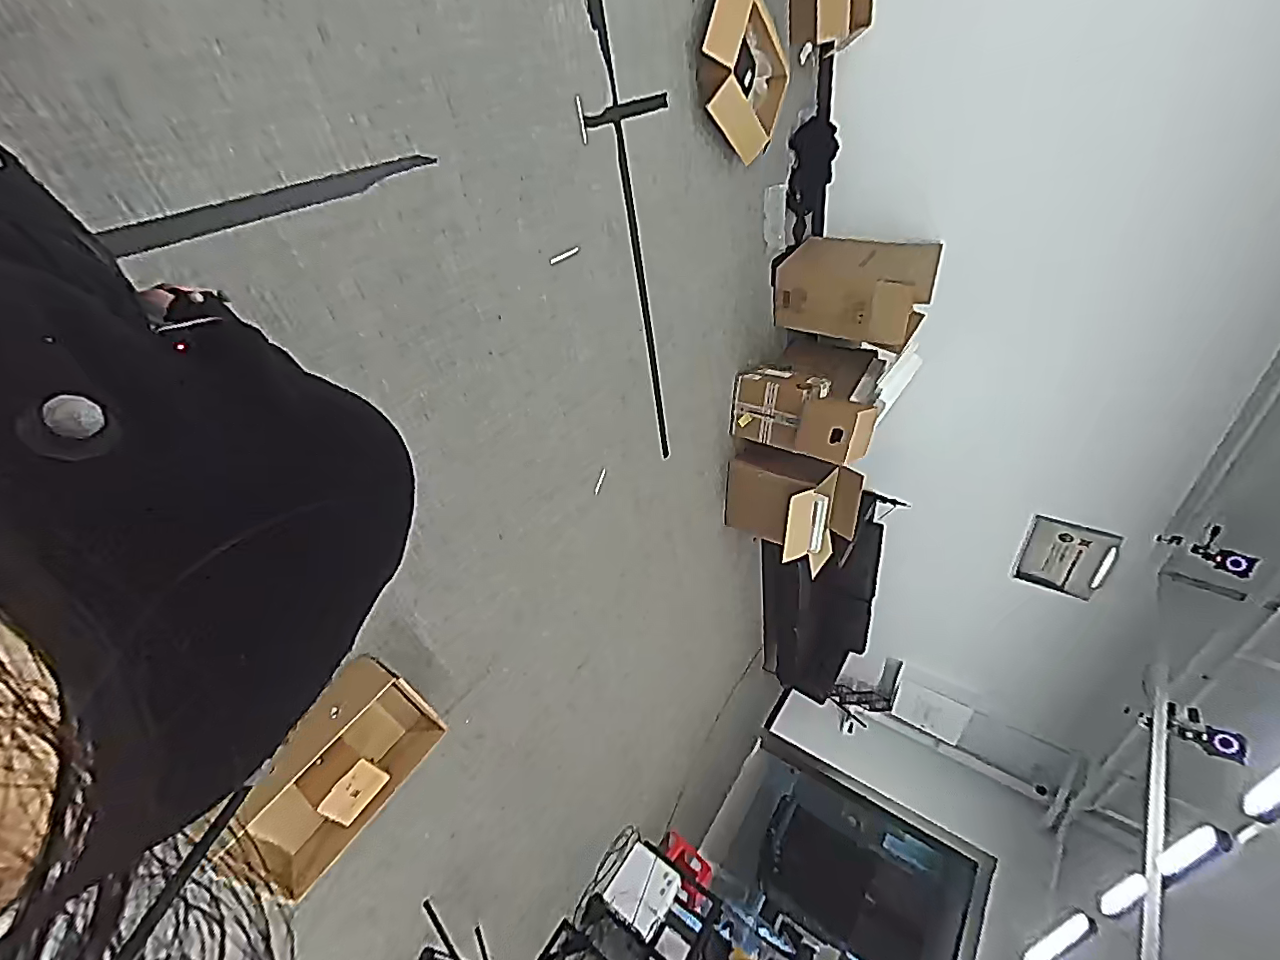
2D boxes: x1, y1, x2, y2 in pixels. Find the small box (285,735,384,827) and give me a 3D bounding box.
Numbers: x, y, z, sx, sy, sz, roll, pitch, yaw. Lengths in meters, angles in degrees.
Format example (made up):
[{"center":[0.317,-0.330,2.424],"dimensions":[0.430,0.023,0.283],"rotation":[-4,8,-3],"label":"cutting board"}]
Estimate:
[{"center":[-0.945,0.929,1.676],"dimensions":[0.168,0.176,0.179],"rotation":[-50,143,-31],"label":"small box"}]
